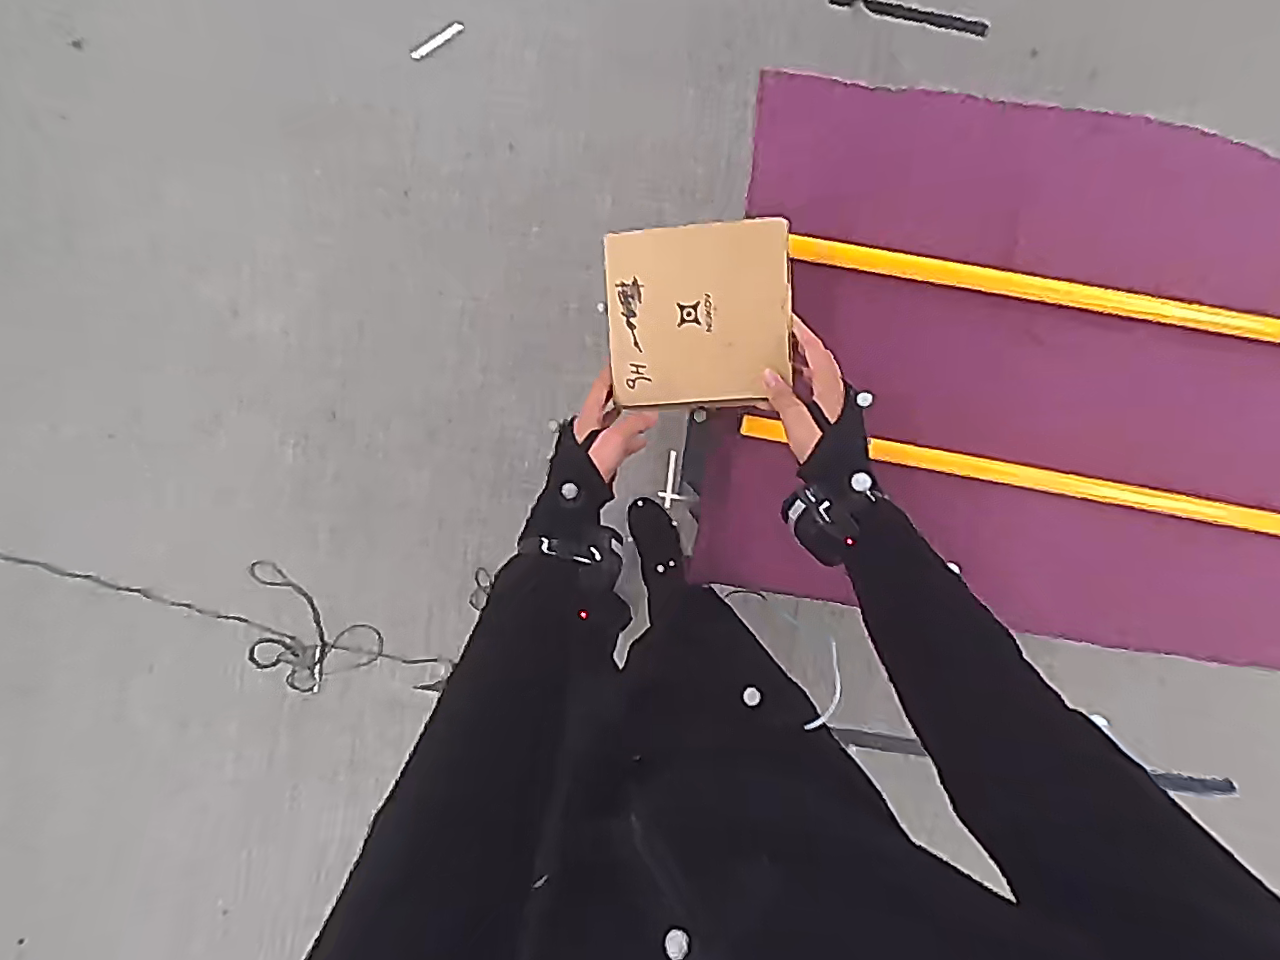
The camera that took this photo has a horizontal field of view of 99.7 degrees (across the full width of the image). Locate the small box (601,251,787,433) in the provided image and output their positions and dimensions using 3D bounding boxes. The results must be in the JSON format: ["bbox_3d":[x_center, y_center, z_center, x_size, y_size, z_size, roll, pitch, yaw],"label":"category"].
[{"bbox_3d":[0.058,-0.141,0.604,0.179,0.176,0.168,-3,95,5],"label":"small box"}]
